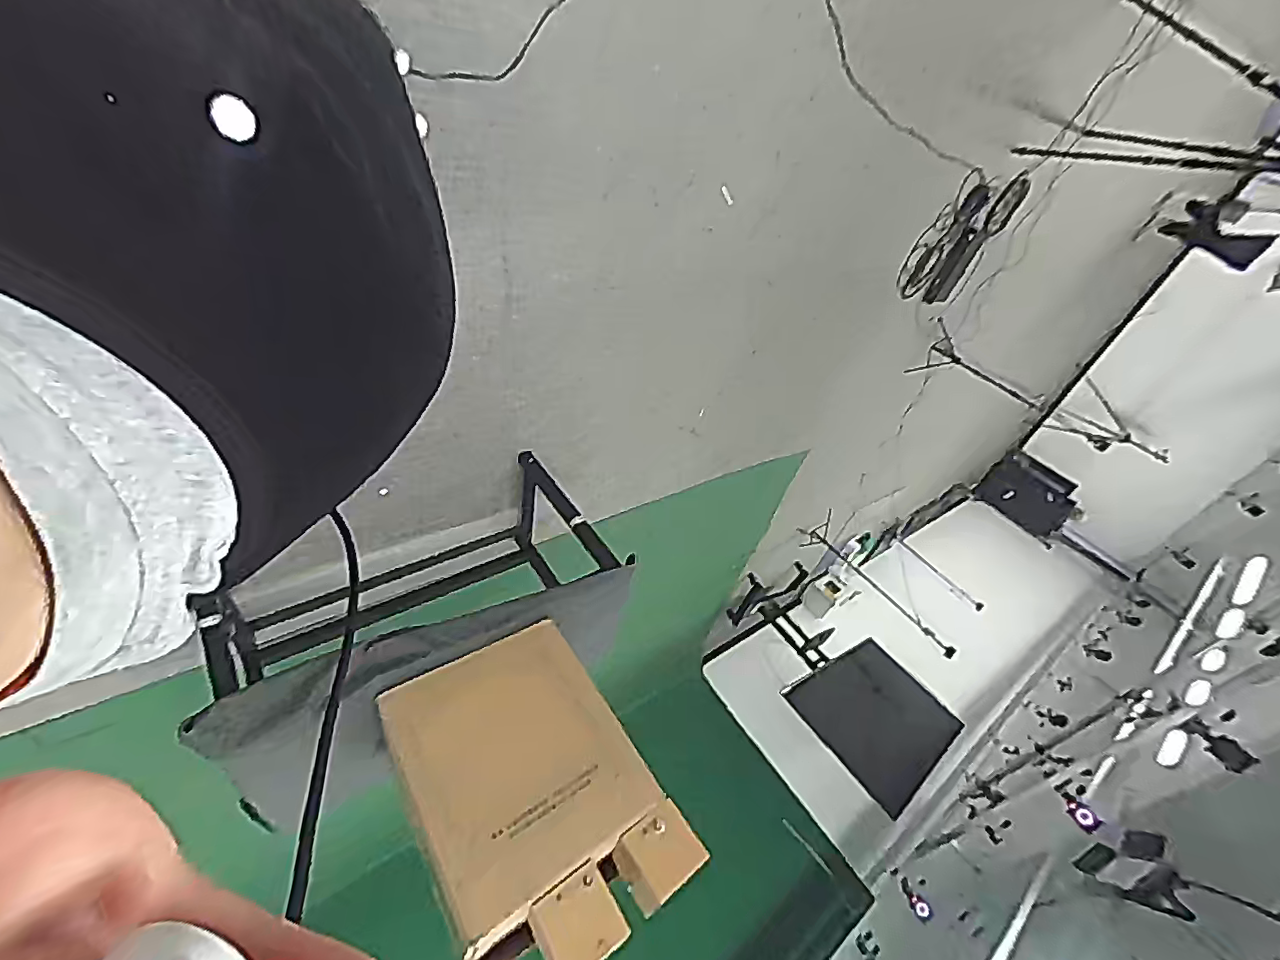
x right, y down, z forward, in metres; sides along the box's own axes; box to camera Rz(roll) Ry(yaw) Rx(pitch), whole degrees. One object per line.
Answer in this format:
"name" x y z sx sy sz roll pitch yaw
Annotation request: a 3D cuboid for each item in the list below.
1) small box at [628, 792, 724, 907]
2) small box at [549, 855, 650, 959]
"small box" 0.087 0.960 1.416 0.168 0.176 0.179 -24 142 -34
"small box" -0.102 1.031 1.274 0.168 0.176 0.179 -21 142 -32
